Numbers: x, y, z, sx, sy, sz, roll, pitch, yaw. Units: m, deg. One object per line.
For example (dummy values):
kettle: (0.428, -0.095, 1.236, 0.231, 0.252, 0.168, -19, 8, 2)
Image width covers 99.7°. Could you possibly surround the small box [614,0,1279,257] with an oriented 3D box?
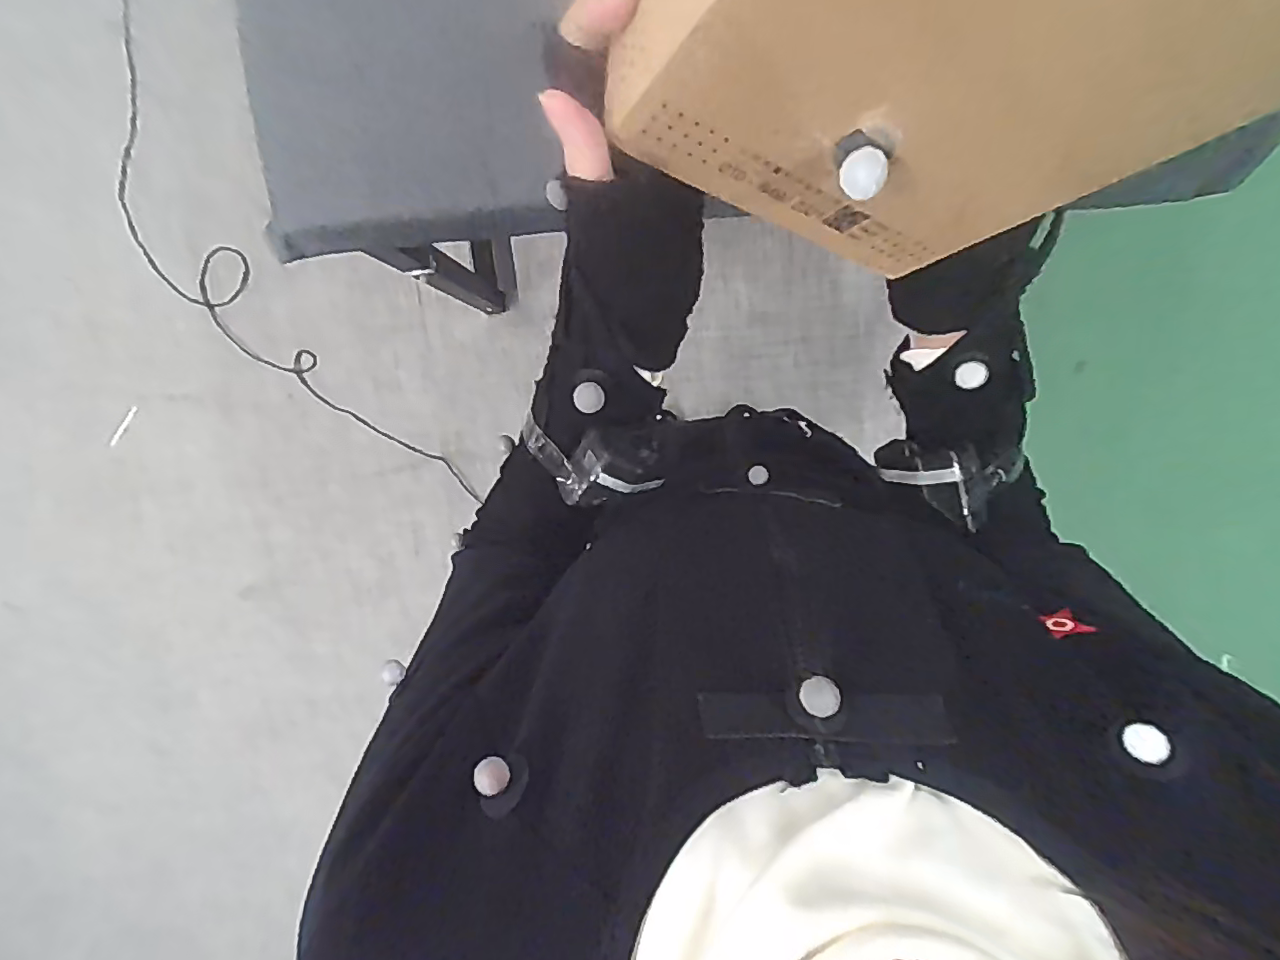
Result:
small box: (0.103, -0.209, 0.177, 0.168, 0.176, 0.179, 7, 83, -30)
